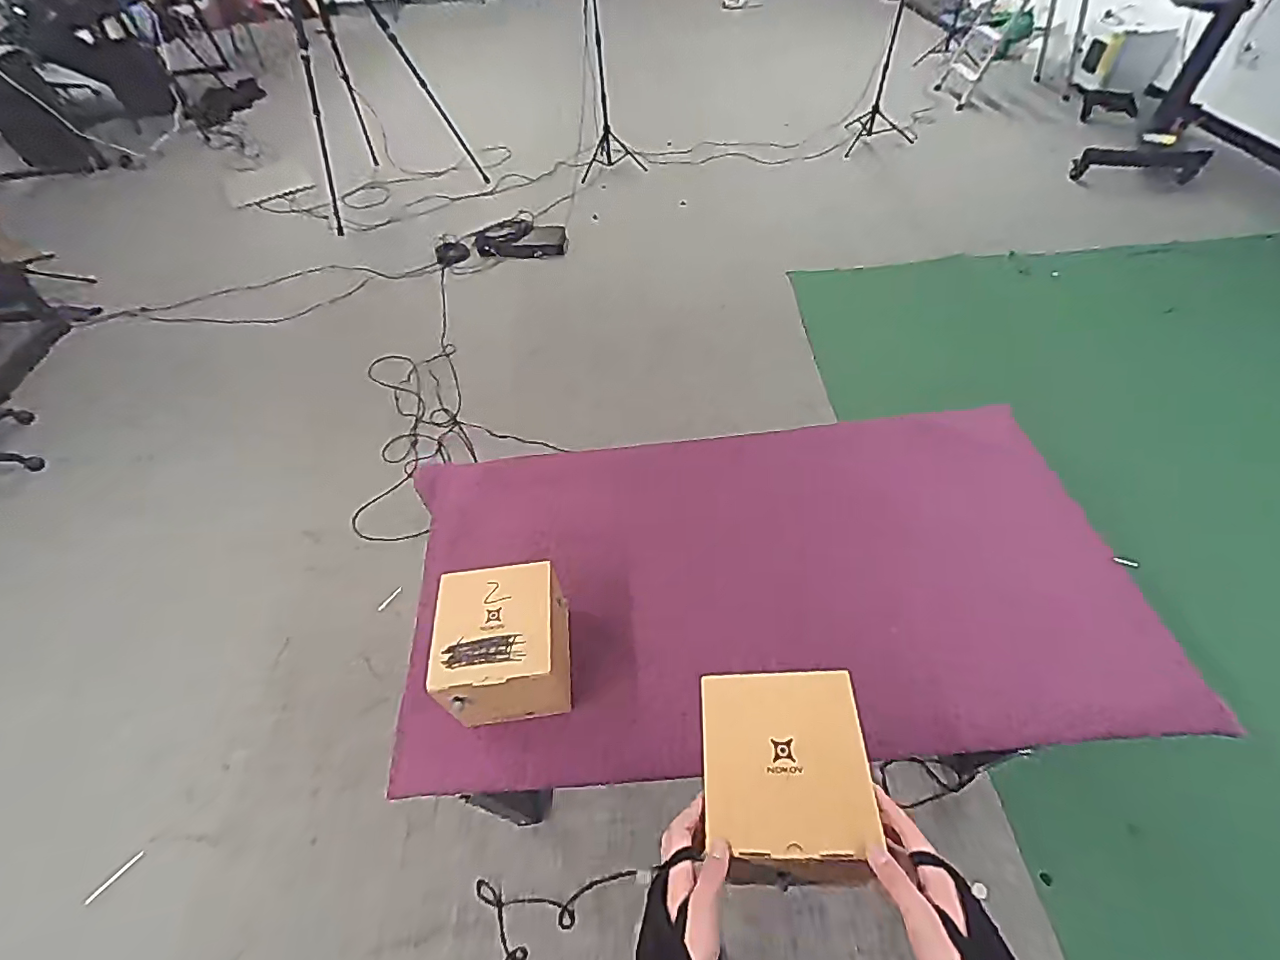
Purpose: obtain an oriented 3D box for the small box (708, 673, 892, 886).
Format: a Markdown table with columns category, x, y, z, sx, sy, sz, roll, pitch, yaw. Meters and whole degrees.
| category | x | y | z | sx | sy | sz | roll | pitch | yaw |
| --- | --- | --- | --- | --- | --- | --- | --- | --- | --- |
| small box | 0.165 | 0.338 | 0.612 | 0.168 | 0.176 | 0.179 | -5 | 48 | 9 |
